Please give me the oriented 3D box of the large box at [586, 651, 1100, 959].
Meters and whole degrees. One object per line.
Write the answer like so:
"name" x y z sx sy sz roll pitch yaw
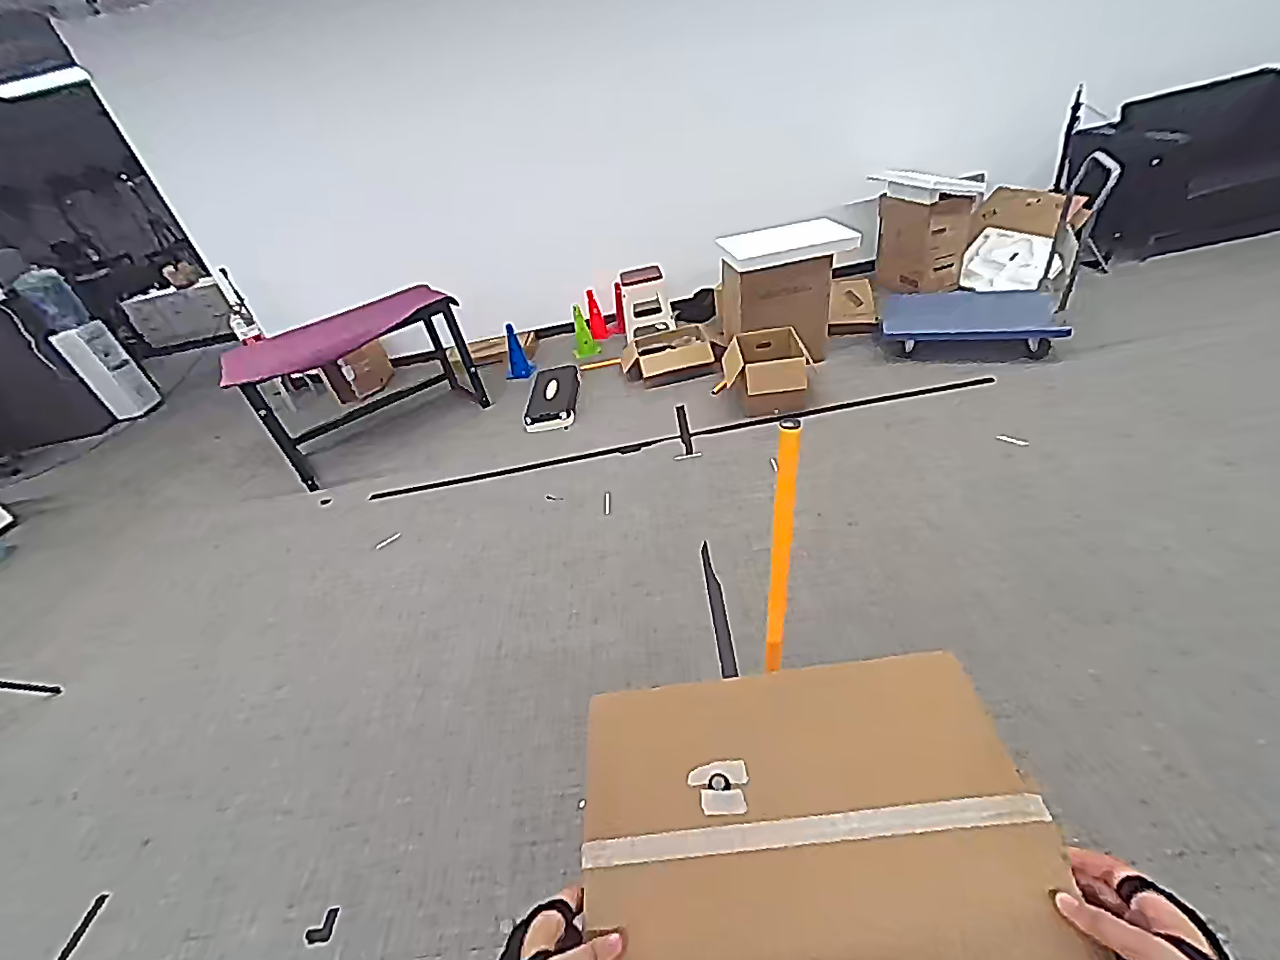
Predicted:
"large box" 0.177 0.434 0.596 0.408 0.320 0.320 -11 40 6
